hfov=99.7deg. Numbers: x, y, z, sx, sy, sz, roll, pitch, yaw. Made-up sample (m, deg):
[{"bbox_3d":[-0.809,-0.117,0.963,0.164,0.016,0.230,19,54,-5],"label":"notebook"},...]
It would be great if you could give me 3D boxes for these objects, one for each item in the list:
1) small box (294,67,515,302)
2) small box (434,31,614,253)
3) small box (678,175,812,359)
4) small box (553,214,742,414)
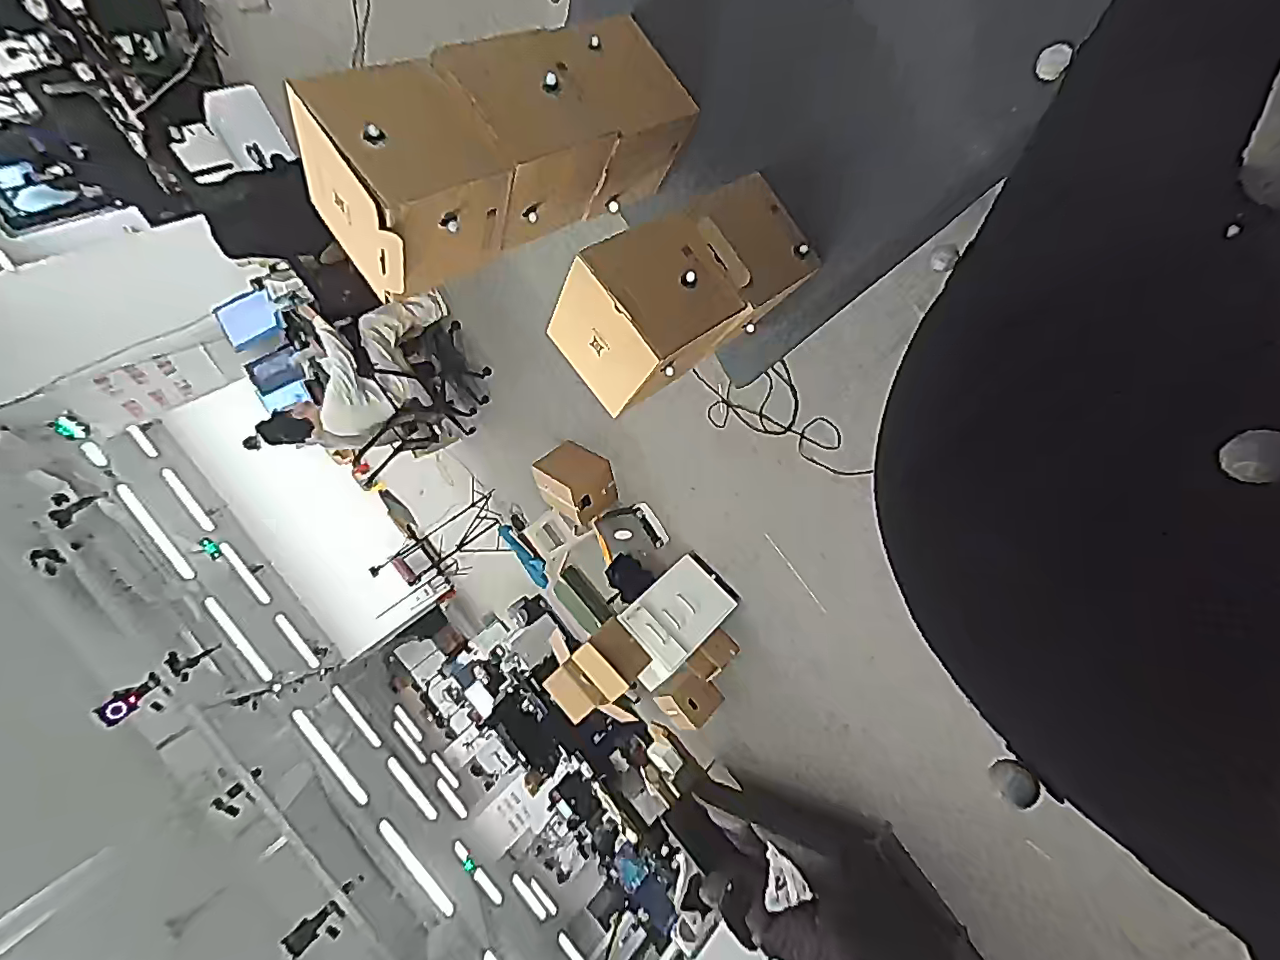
[{"bbox_3d":[-0.277,-0.362,0.665,0.179,0.176,0.168,52,151,2],"label":"small box"},{"bbox_3d":[-0.161,-0.453,0.734,0.168,0.176,0.179,52,152,-3],"label":"small box"},{"bbox_3d":[0.130,-0.316,0.812,0.168,0.176,0.179,54,153,-3],"label":"small box"},{"bbox_3d":[0.008,-0.226,0.750,0.168,0.176,0.179,52,152,1],"label":"small box"}]
